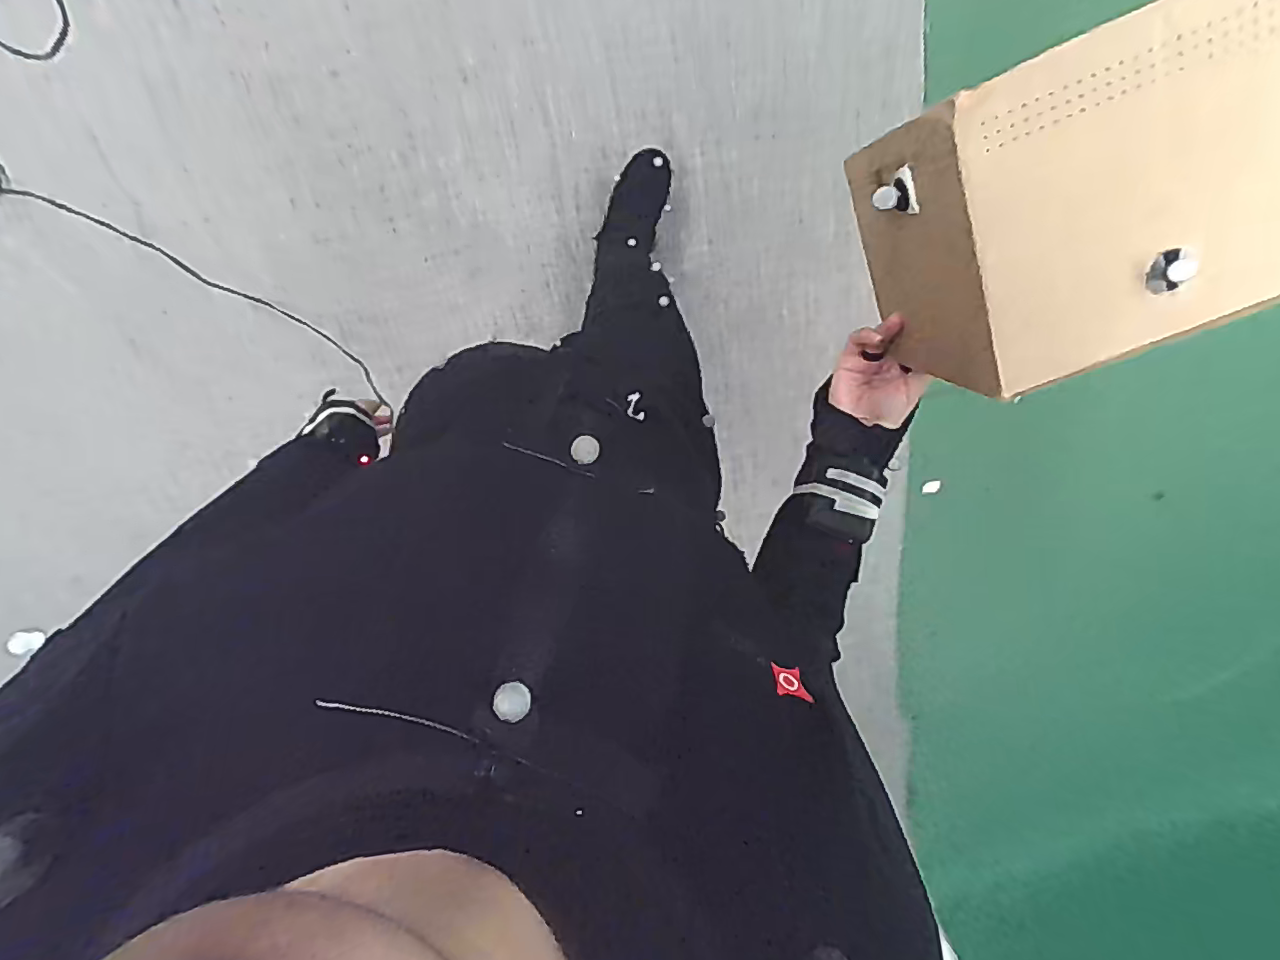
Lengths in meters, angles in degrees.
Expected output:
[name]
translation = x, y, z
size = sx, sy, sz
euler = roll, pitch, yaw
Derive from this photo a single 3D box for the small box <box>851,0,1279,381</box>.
[small box]
translation = 0.260, -0.186, 0.337
size = 0.179, 0.168, 0.176
euler = -21, 109, 10
